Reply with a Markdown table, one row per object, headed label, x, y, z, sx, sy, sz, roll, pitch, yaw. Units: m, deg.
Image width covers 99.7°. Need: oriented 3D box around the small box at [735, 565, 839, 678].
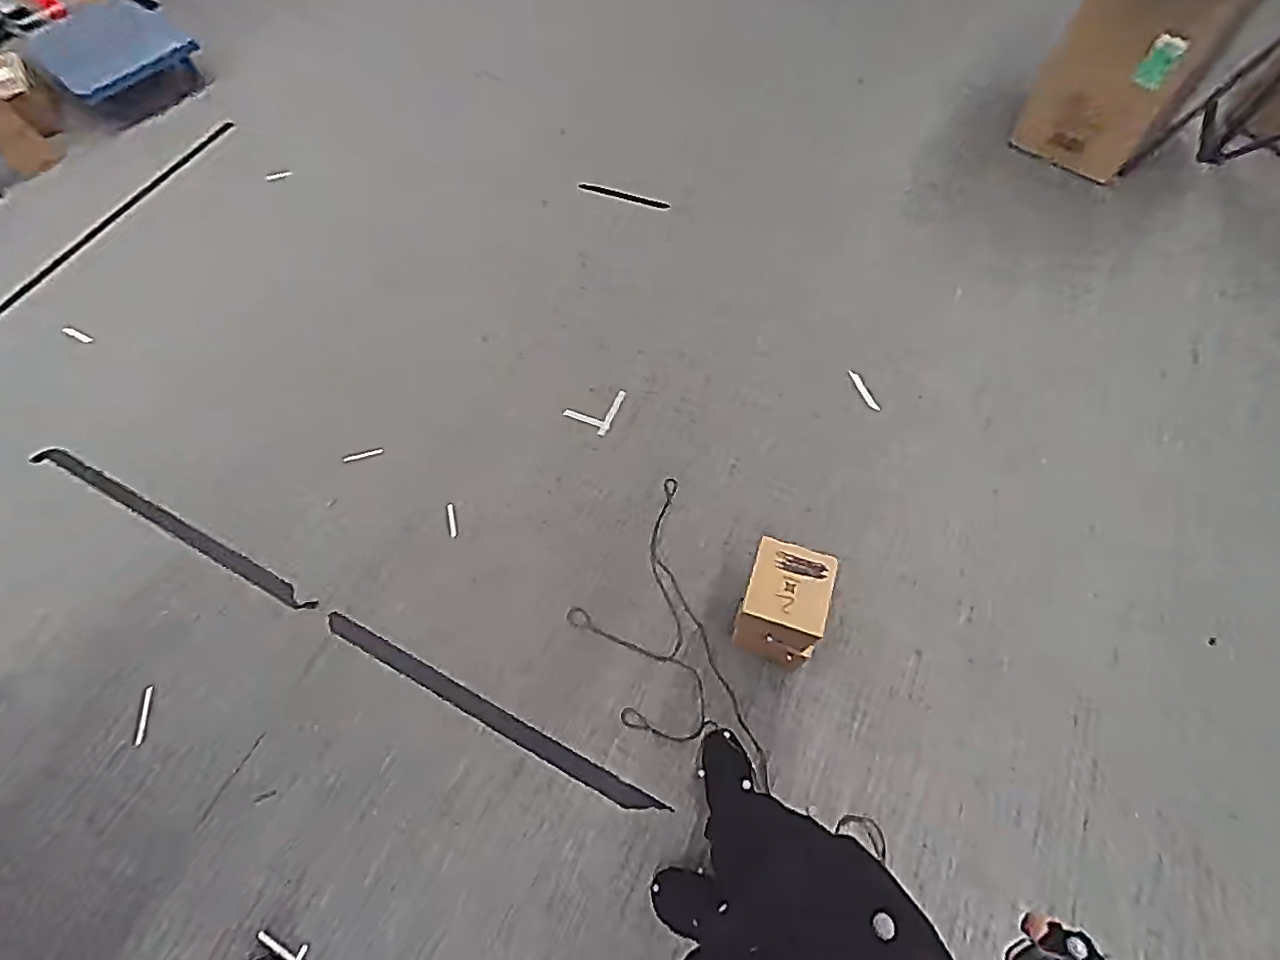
| label | x | y | z | sx | sy | sz | roll | pitch | yaw |
| --- | --- | --- | --- | --- | --- | --- | --- | --- | --- |
| small box | 0.349 | 0.333 | 1.278 | 0.168 | 0.176 | 0.179 | 27 | 49 | -3 |
